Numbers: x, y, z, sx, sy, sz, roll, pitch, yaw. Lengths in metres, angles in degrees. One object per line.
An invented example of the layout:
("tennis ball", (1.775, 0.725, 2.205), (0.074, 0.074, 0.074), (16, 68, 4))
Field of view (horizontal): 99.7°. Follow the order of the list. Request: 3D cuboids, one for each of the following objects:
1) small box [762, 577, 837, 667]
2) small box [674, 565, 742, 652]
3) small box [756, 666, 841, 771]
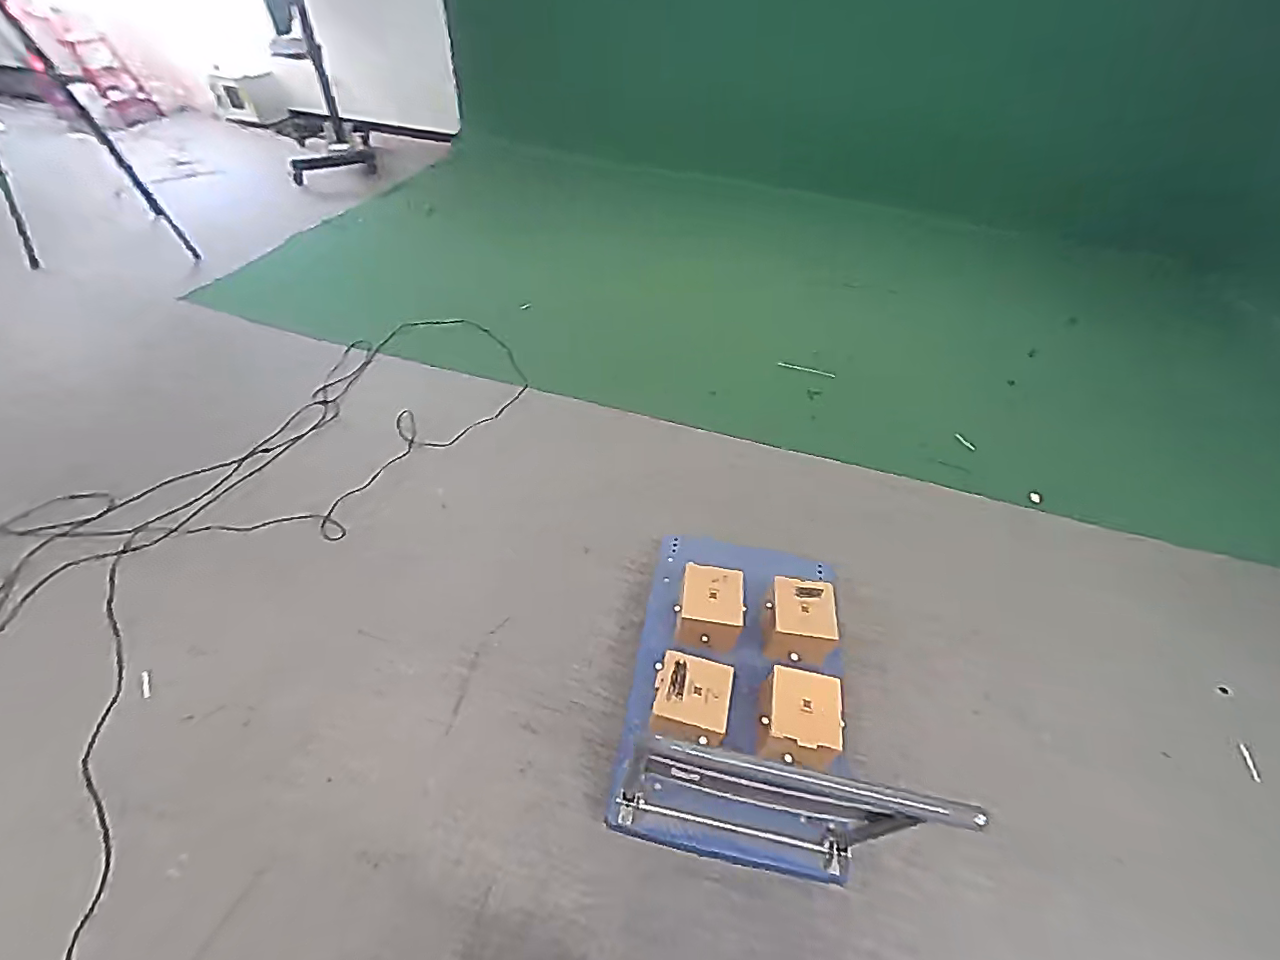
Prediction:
("small box", (0.443, 0.404, 1.533), (0.168, 0.176, 0.179), (7, 49, 3))
("small box", (0.192, 0.371, 1.544), (0.168, 0.176, 0.179), (9, 48, 2))
("small box", (0.391, 0.599, 1.353), (0.168, 0.176, 0.179), (11, 48, 6))
